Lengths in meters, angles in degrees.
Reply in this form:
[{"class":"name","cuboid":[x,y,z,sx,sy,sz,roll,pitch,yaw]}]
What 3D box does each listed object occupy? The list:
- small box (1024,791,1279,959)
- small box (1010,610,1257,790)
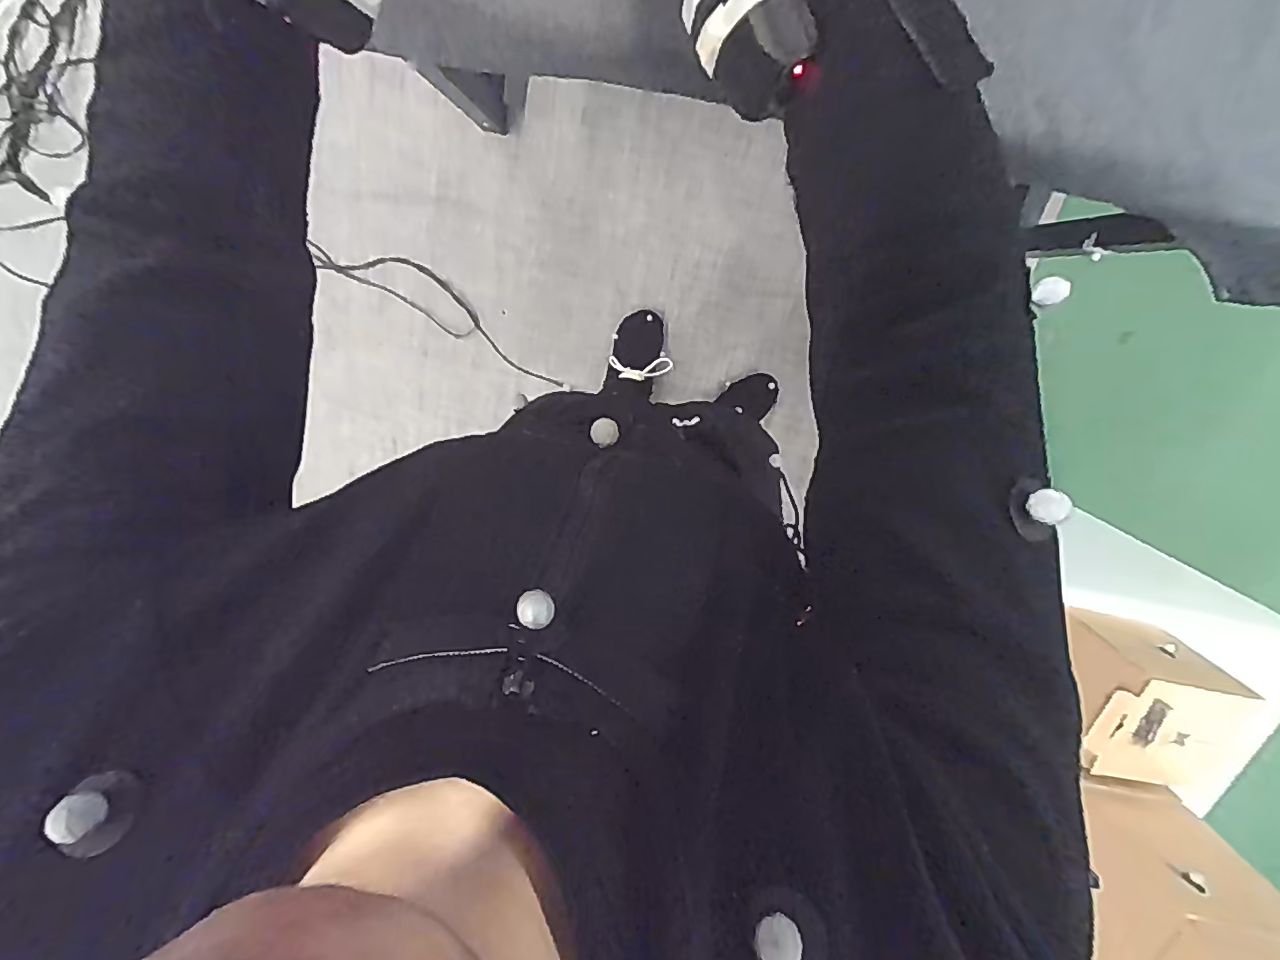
[{"class":"small box","cuboid":[0.659,0.542,0.704,0.179,0.176,0.168,13,109,-5]},{"class":"small box","cuboid":[0.702,0.314,0.798,0.179,0.176,0.168,12,110,-6]}]
